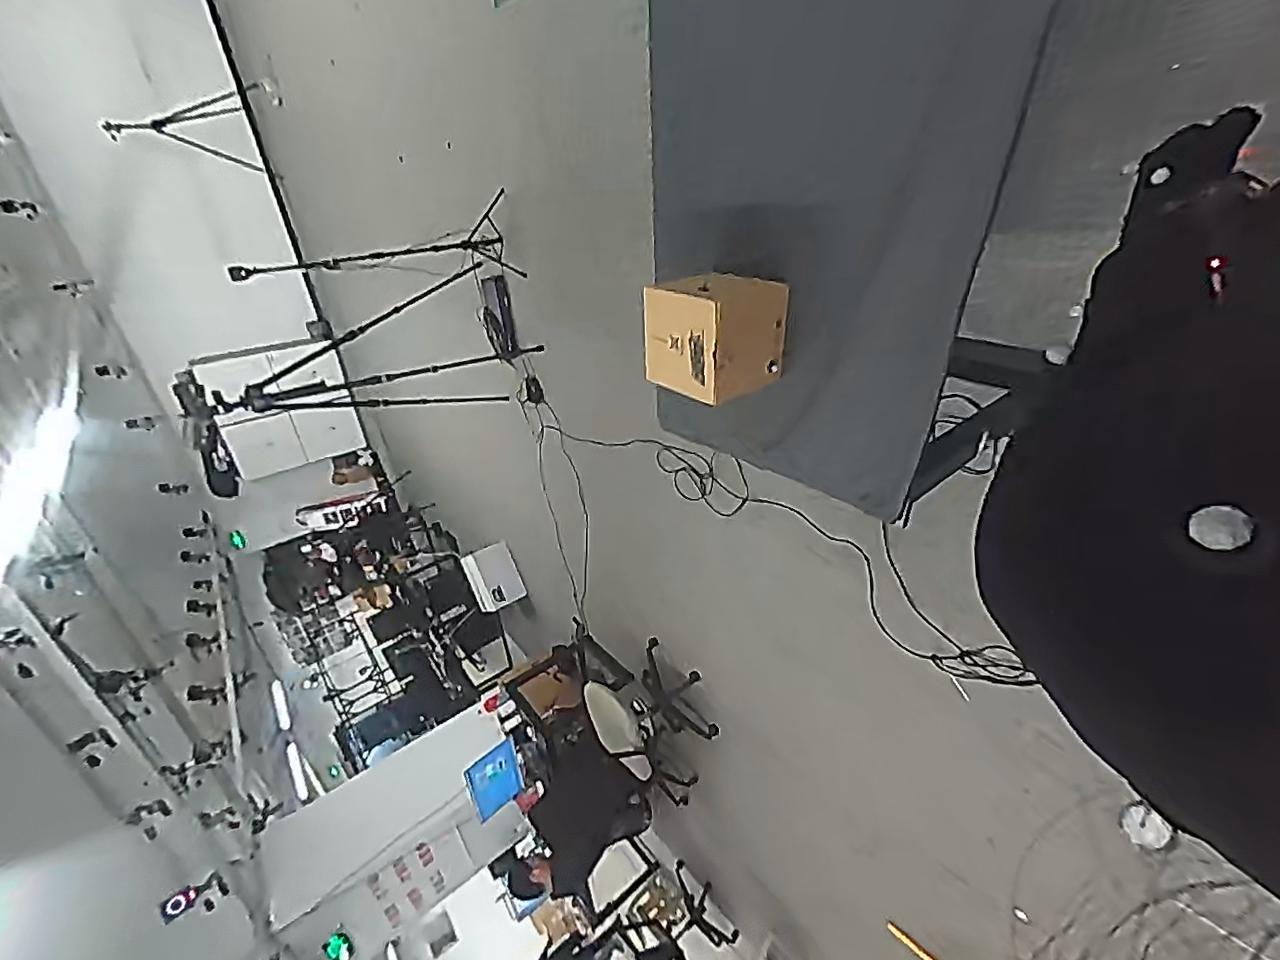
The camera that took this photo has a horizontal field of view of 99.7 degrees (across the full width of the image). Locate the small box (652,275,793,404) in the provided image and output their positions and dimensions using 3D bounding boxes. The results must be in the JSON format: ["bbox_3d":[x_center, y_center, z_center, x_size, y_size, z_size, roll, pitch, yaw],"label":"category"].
[{"bbox_3d":[0.140,-0.251,0.931,0.179,0.176,0.168,31,134,44],"label":"small box"}]
